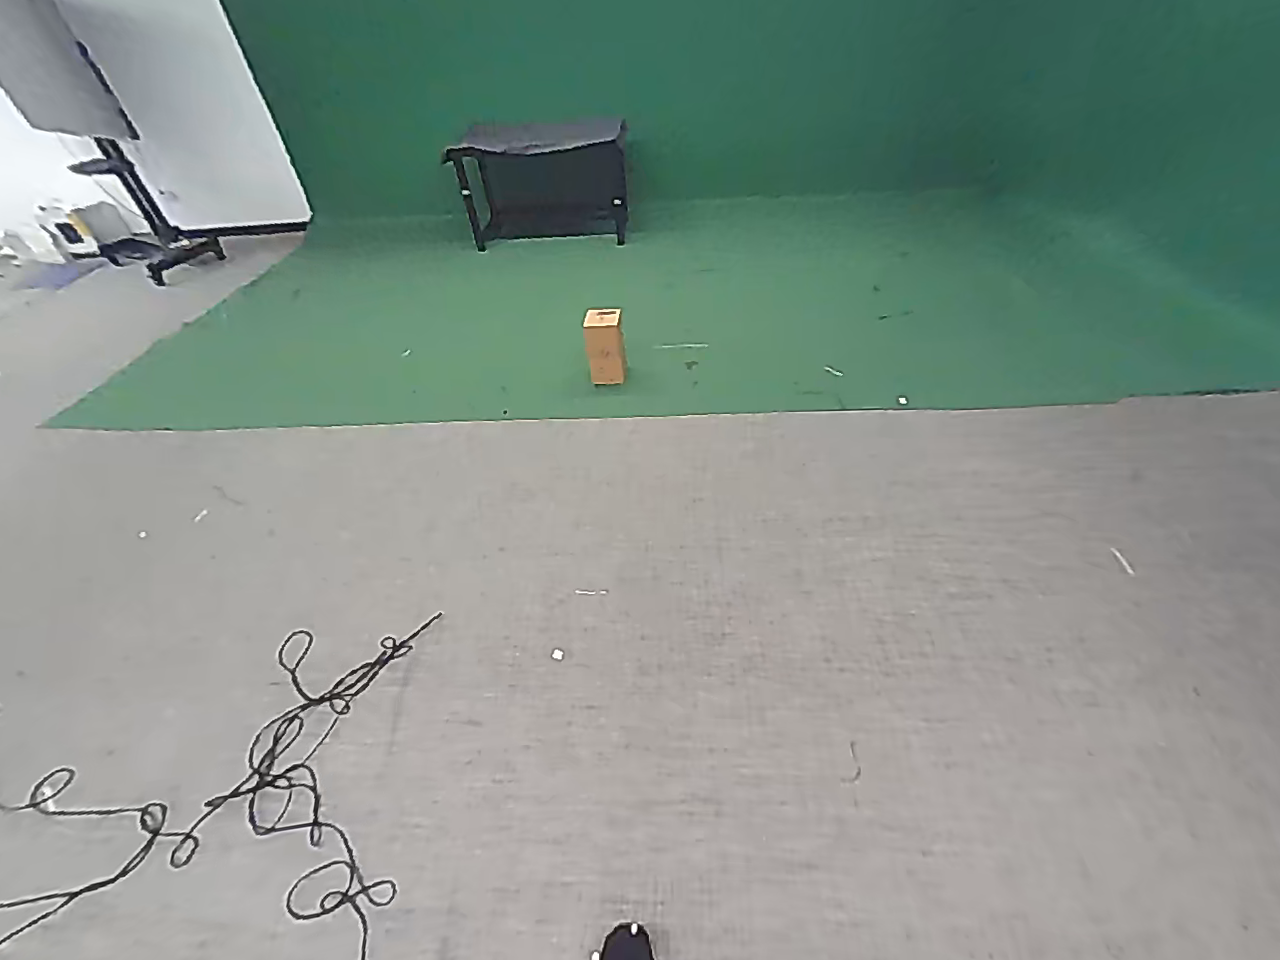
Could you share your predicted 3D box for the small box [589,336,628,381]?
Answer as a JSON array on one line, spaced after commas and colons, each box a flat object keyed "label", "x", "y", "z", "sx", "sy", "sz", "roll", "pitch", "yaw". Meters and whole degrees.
[{"label": "small box", "x": -0.158, "y": -0.620, "z": 2.771, "sx": 0.168, "sy": 0.176, "sz": 0.179, "roll": -1, "pitch": 42, "yaw": 6}]
